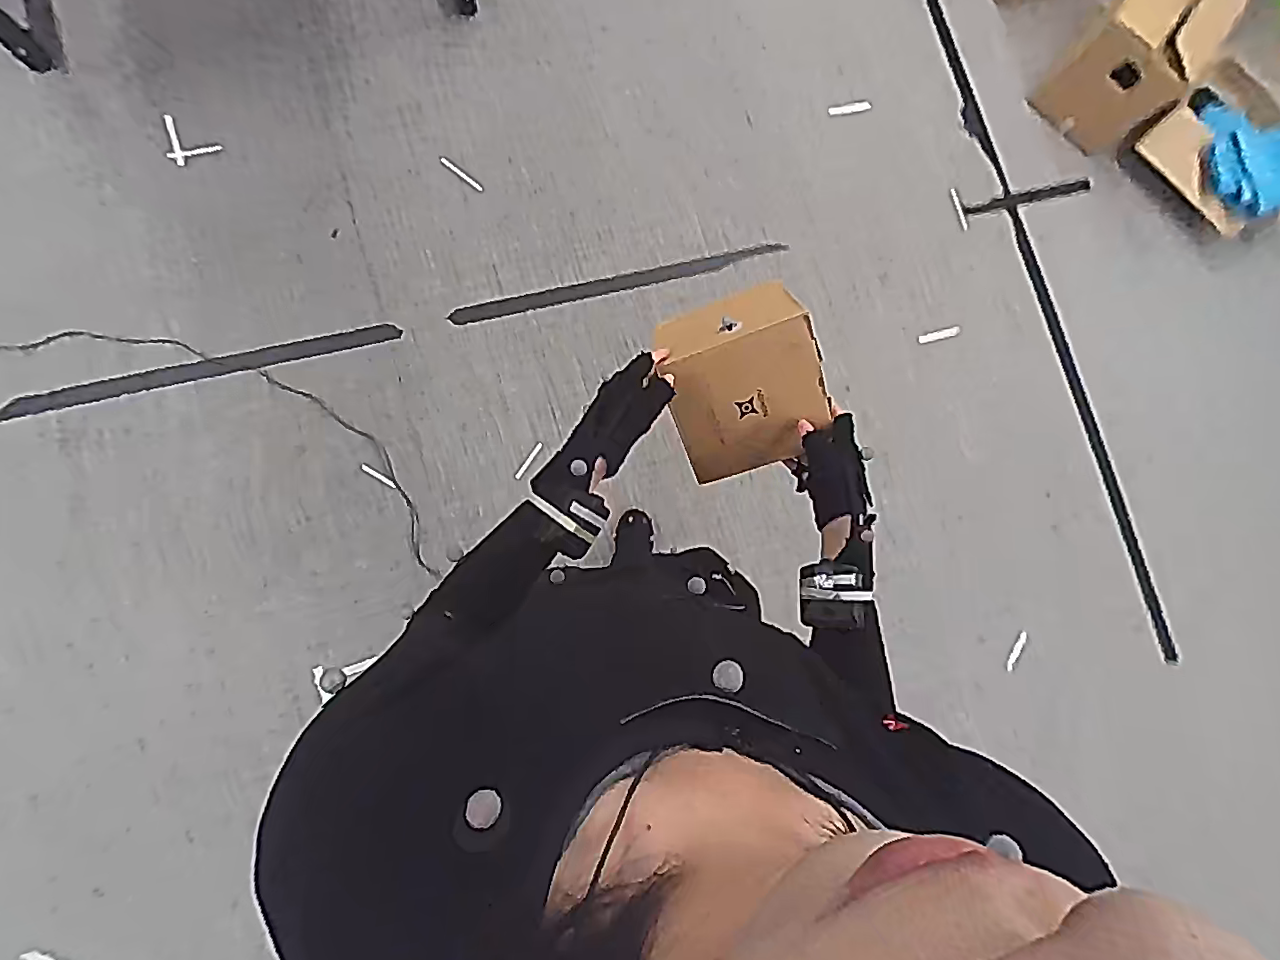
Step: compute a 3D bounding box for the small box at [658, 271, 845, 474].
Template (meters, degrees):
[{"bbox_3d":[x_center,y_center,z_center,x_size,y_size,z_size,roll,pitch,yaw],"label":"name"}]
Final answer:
[{"bbox_3d":[0.129,-0.139,0.670,0.179,0.176,0.168,-19,119,12],"label":"small box"}]
